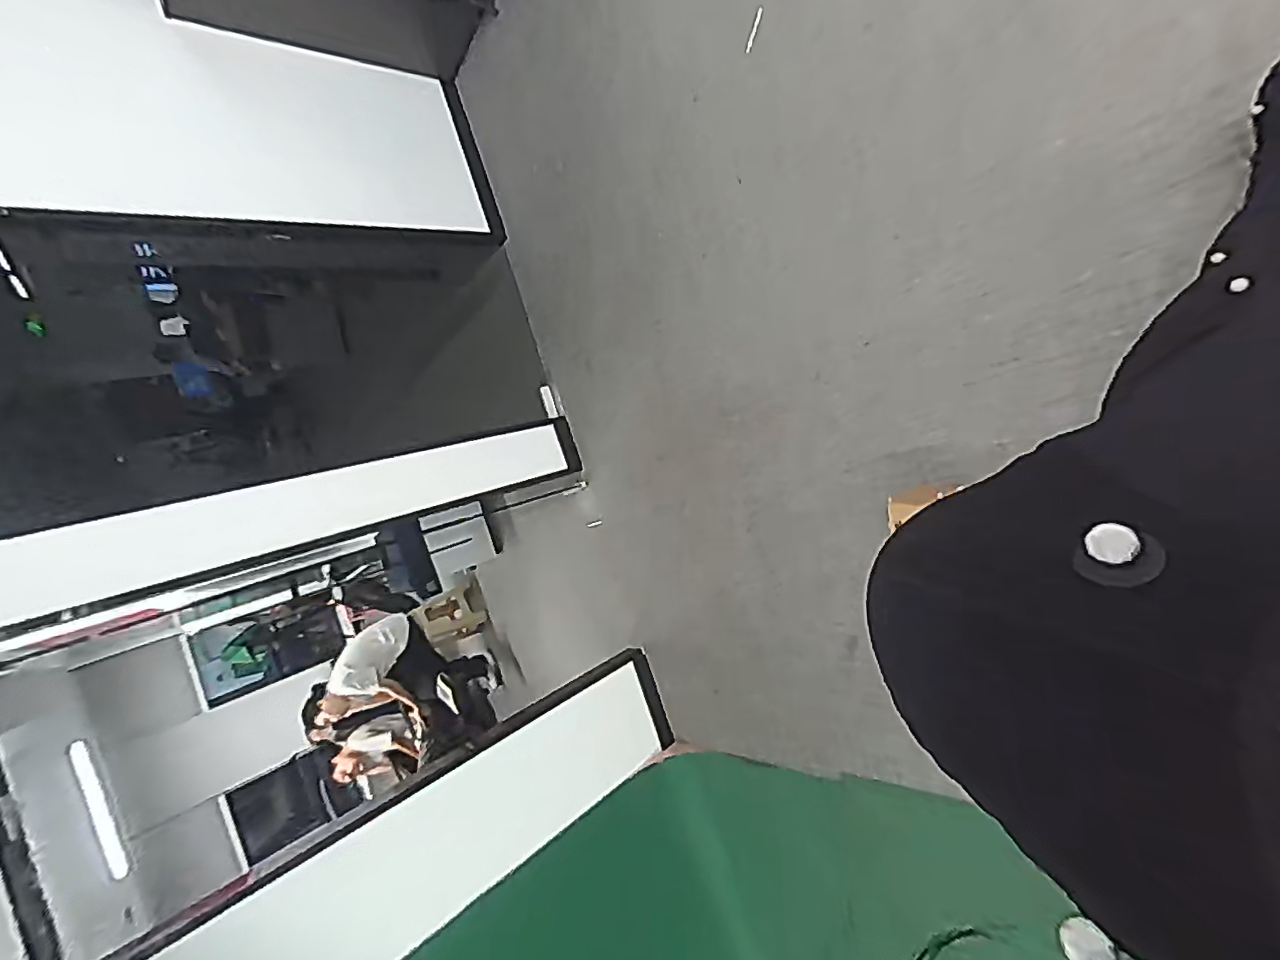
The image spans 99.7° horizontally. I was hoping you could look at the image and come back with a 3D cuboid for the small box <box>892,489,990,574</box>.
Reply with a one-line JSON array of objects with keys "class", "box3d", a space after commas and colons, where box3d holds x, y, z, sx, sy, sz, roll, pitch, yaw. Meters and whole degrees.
[{"class": "small box", "box3d": [0.771, 0.123, 1.376, 0.179, 0.176, 0.168, 1, 104, 49]}]
